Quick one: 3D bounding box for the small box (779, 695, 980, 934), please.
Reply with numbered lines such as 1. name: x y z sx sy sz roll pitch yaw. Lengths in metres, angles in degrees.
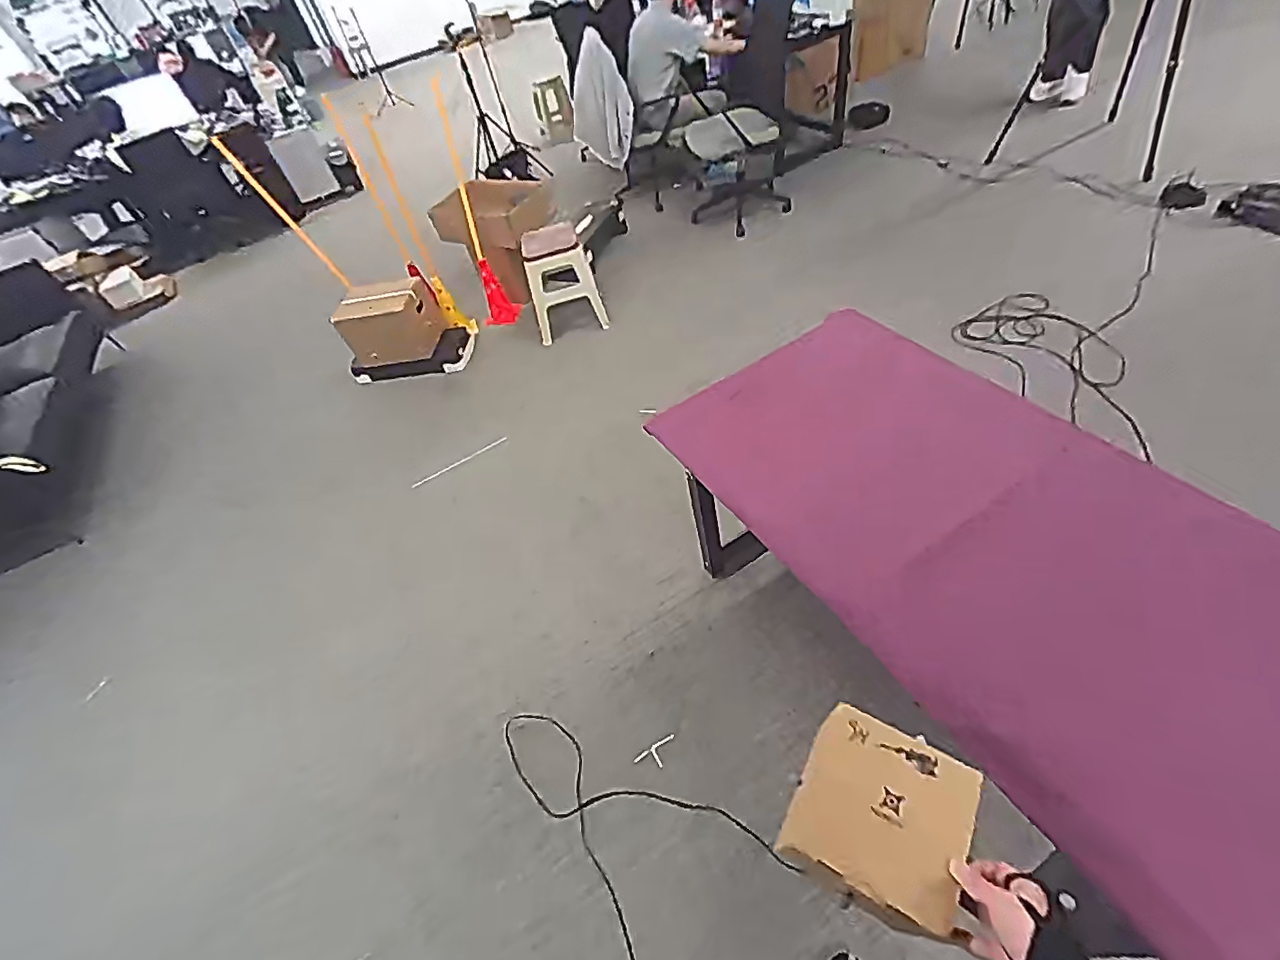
1. small box: 0.281 0.404 0.665 0.168 0.176 0.179 23 60 21
